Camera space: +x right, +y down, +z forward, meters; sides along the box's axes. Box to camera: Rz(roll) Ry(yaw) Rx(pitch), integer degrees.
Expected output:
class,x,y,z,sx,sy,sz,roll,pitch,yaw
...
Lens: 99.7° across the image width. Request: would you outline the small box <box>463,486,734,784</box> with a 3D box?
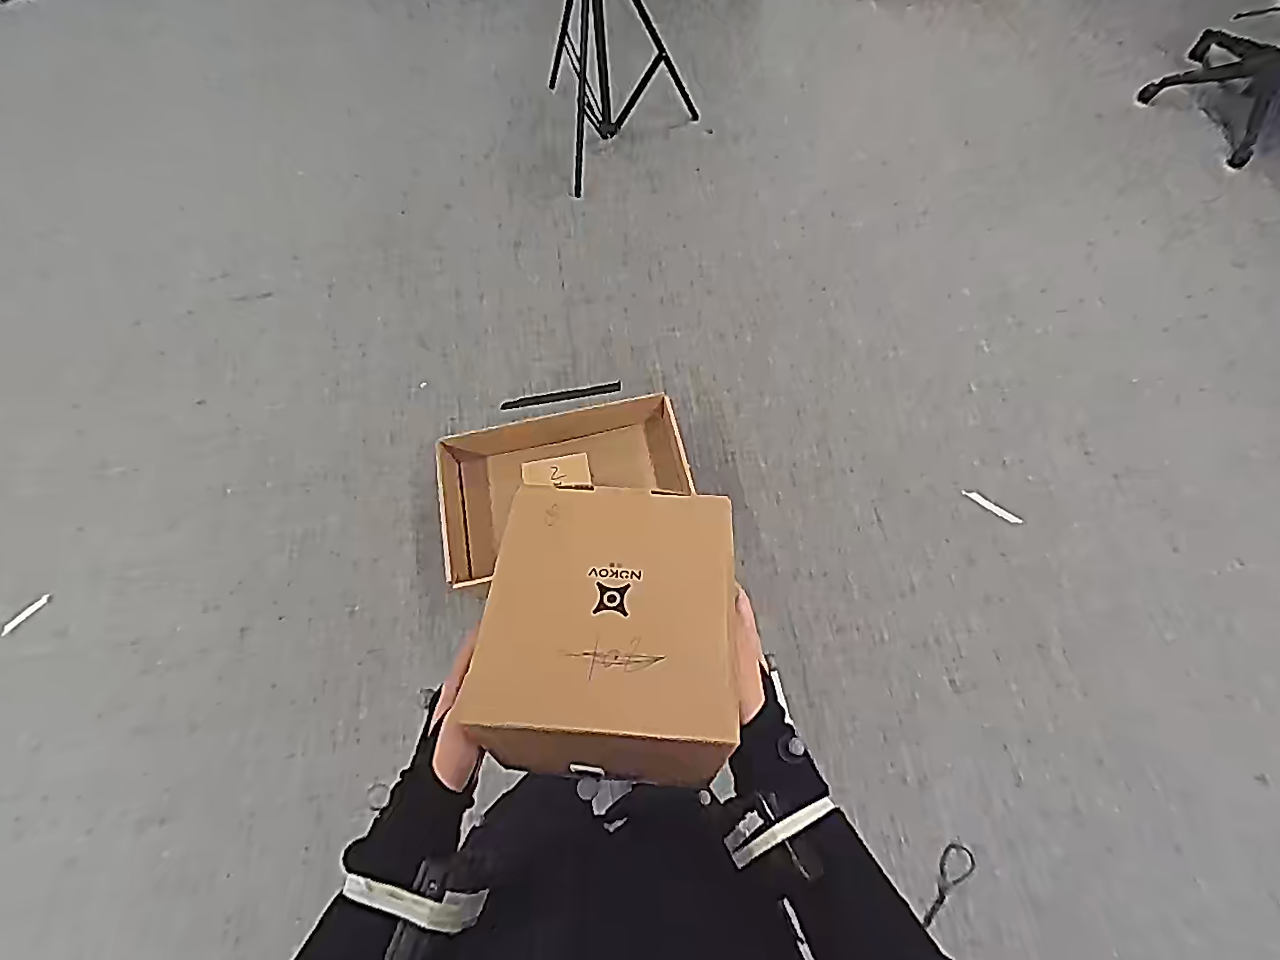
class,x,y,z,sx,sy,sz,roll,pitch,yaw
small box,-0.021,0.126,0.432,0.168,0.176,0.179,3,53,2
